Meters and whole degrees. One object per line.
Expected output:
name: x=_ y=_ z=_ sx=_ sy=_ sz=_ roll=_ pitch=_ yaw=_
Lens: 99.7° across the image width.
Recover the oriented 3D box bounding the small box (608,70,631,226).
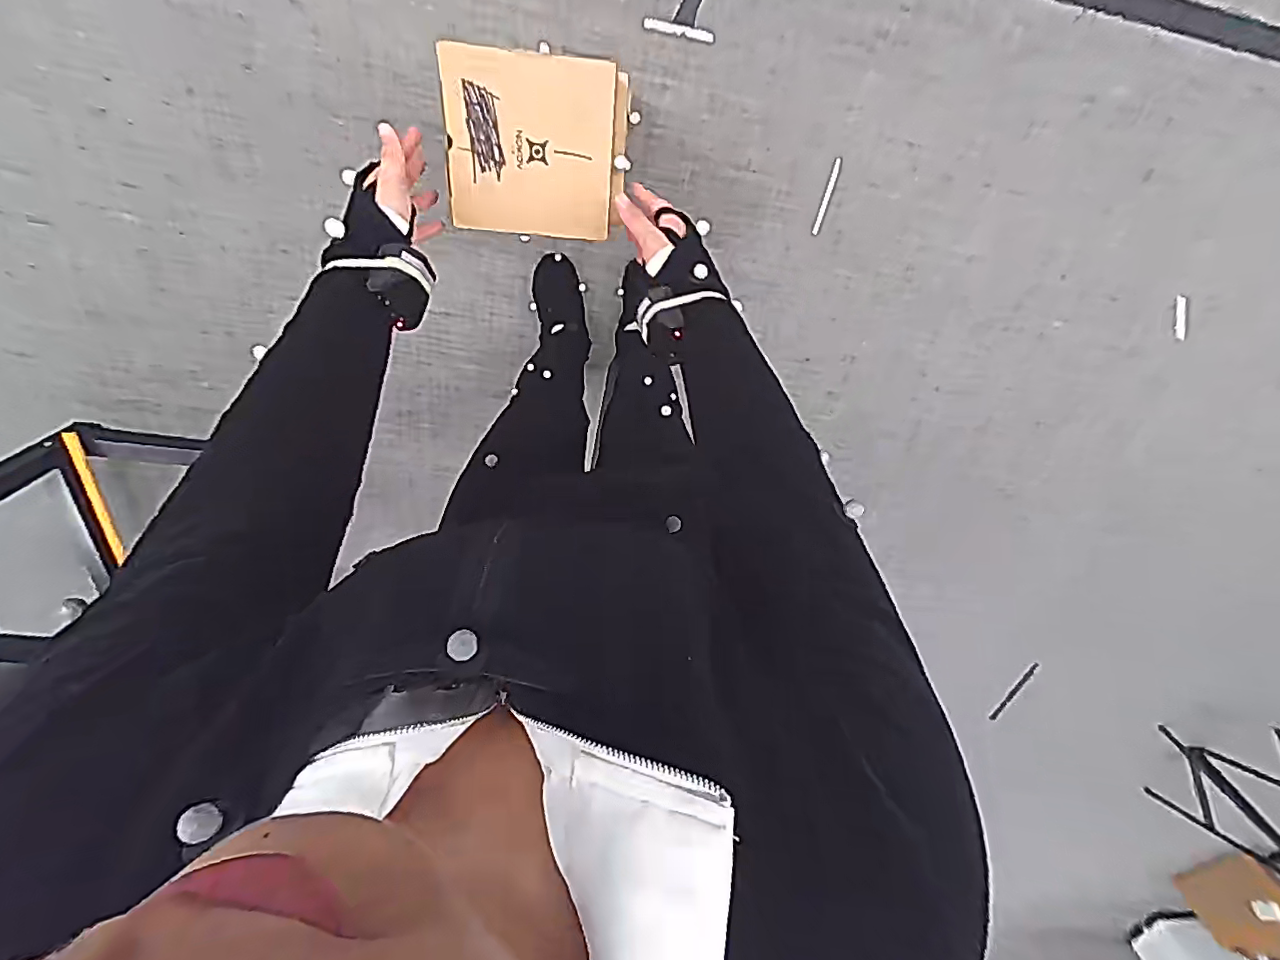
small box: x=-0.103 y=-0.473 z=0.769 sx=0.168 sy=0.176 sz=0.179 roll=3 pitch=123 yaw=-3

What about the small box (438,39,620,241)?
small box: x=-0.117 y=-0.386 z=0.629 sx=0.179 sy=0.176 sz=0.168 roll=3 pitch=122 yaw=-5
